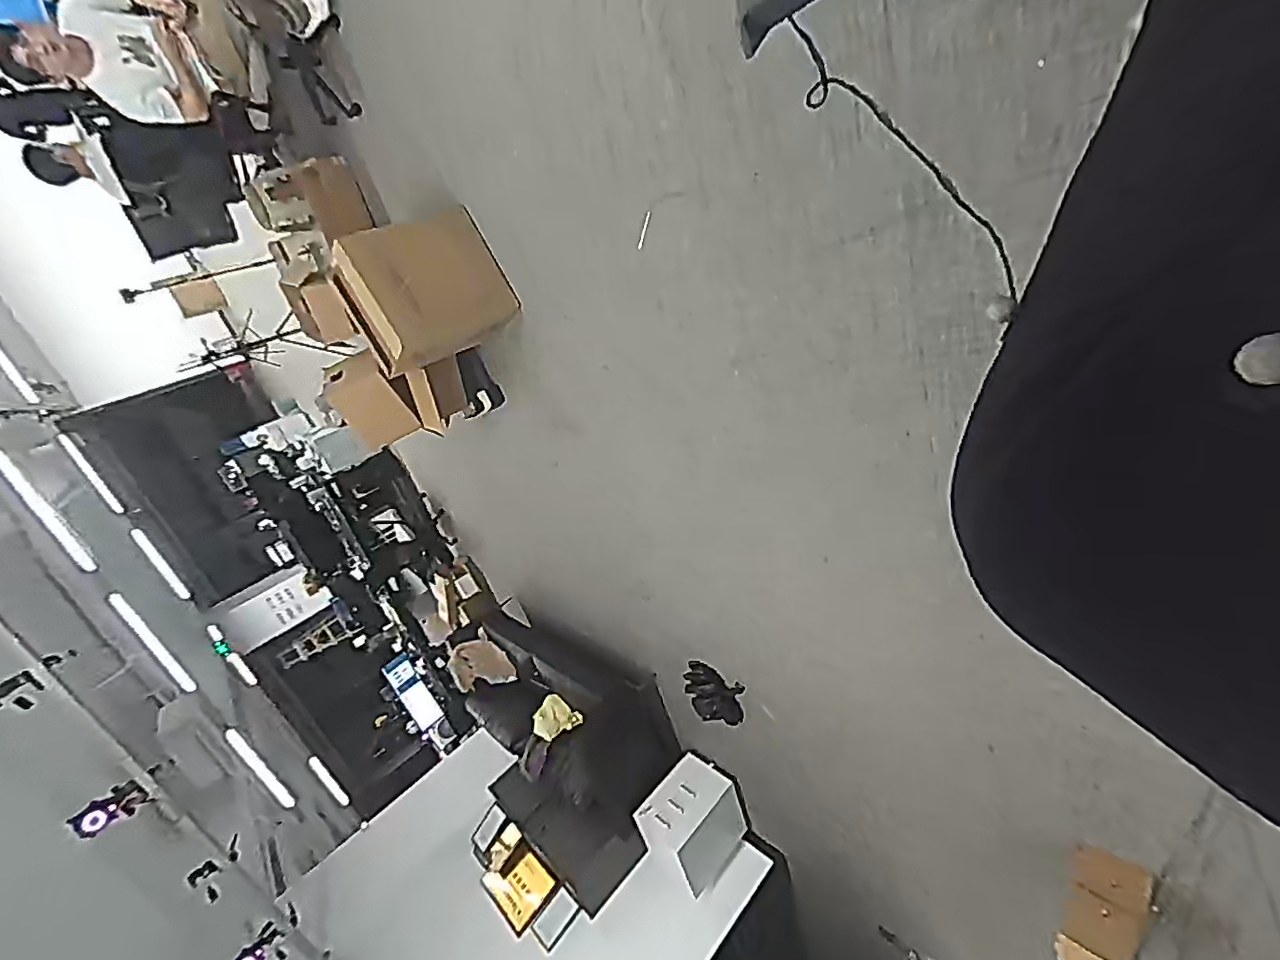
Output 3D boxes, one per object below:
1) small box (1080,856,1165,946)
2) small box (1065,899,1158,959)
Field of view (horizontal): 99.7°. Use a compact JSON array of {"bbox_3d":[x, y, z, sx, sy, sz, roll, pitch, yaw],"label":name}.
[{"bbox_3d":[1.514,1.334,1.699,0.179,0.176,0.168,7,124,48],"label":"small box"},{"bbox_3d":[1.397,1.401,1.606,0.179,0.176,0.168,11,126,48],"label":"small box"}]
